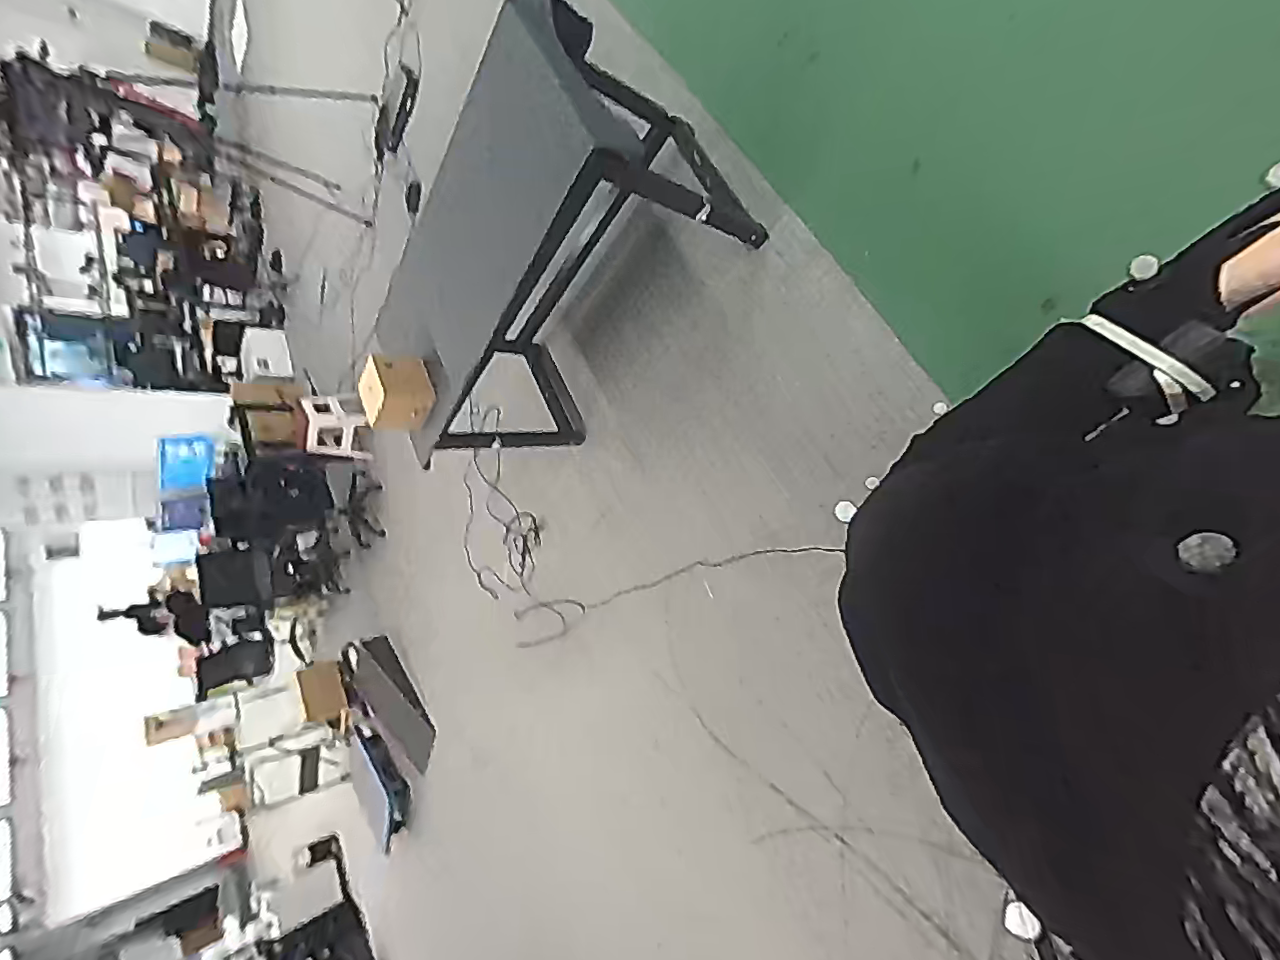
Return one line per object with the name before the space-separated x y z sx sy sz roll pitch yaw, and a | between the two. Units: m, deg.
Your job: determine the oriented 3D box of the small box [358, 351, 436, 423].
small box | -0.803 -0.300 1.788 0.168 0.176 0.179 -46 63 38
